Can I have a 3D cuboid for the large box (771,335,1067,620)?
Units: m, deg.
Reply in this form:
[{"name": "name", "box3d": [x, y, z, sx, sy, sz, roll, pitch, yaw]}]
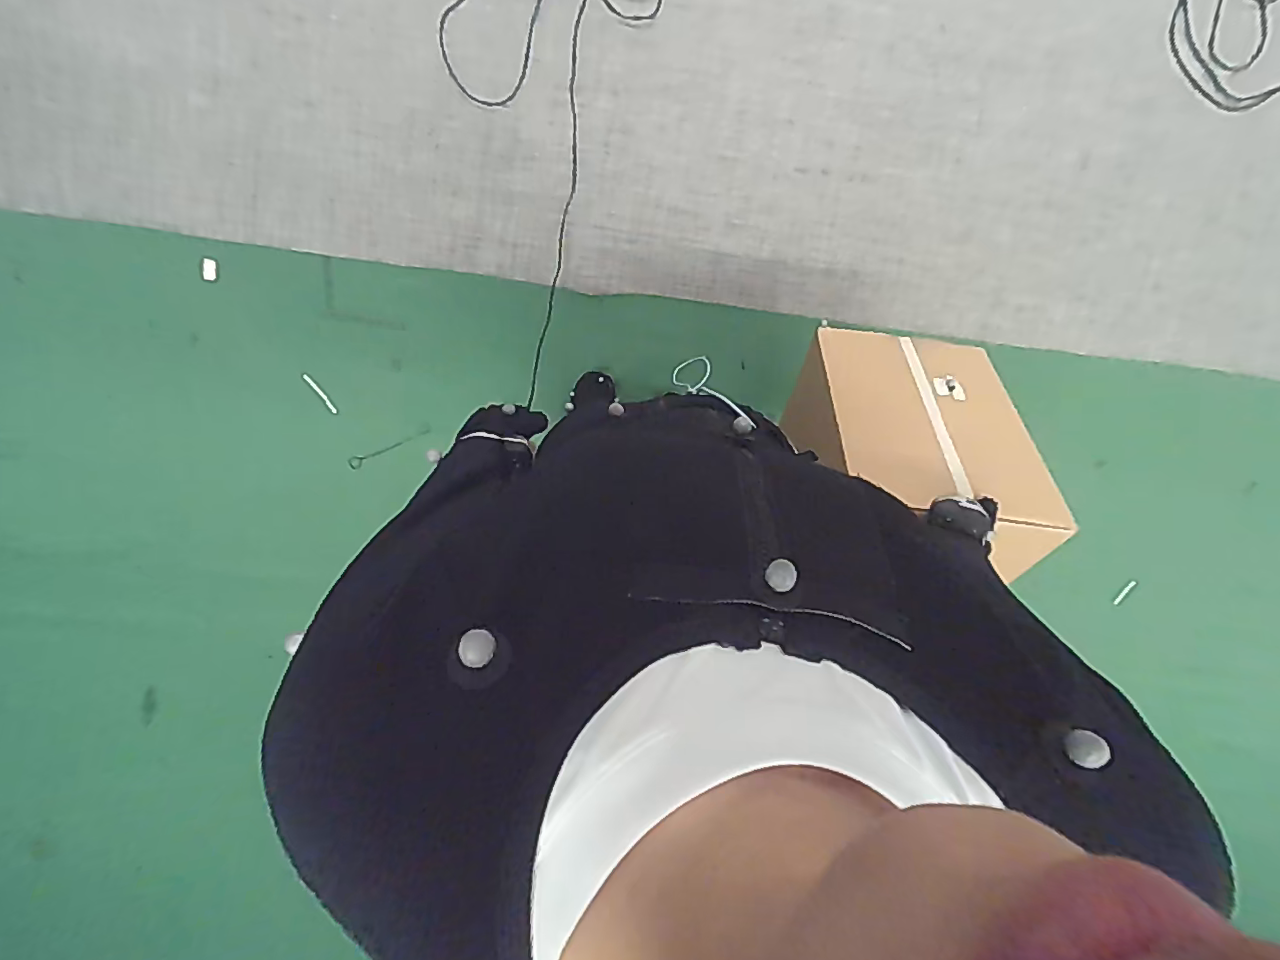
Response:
[{"name": "large box", "box3d": [0.442, -0.002, 0.982, 0.320, 0.408, 0.320, 8, 140, -2]}]
